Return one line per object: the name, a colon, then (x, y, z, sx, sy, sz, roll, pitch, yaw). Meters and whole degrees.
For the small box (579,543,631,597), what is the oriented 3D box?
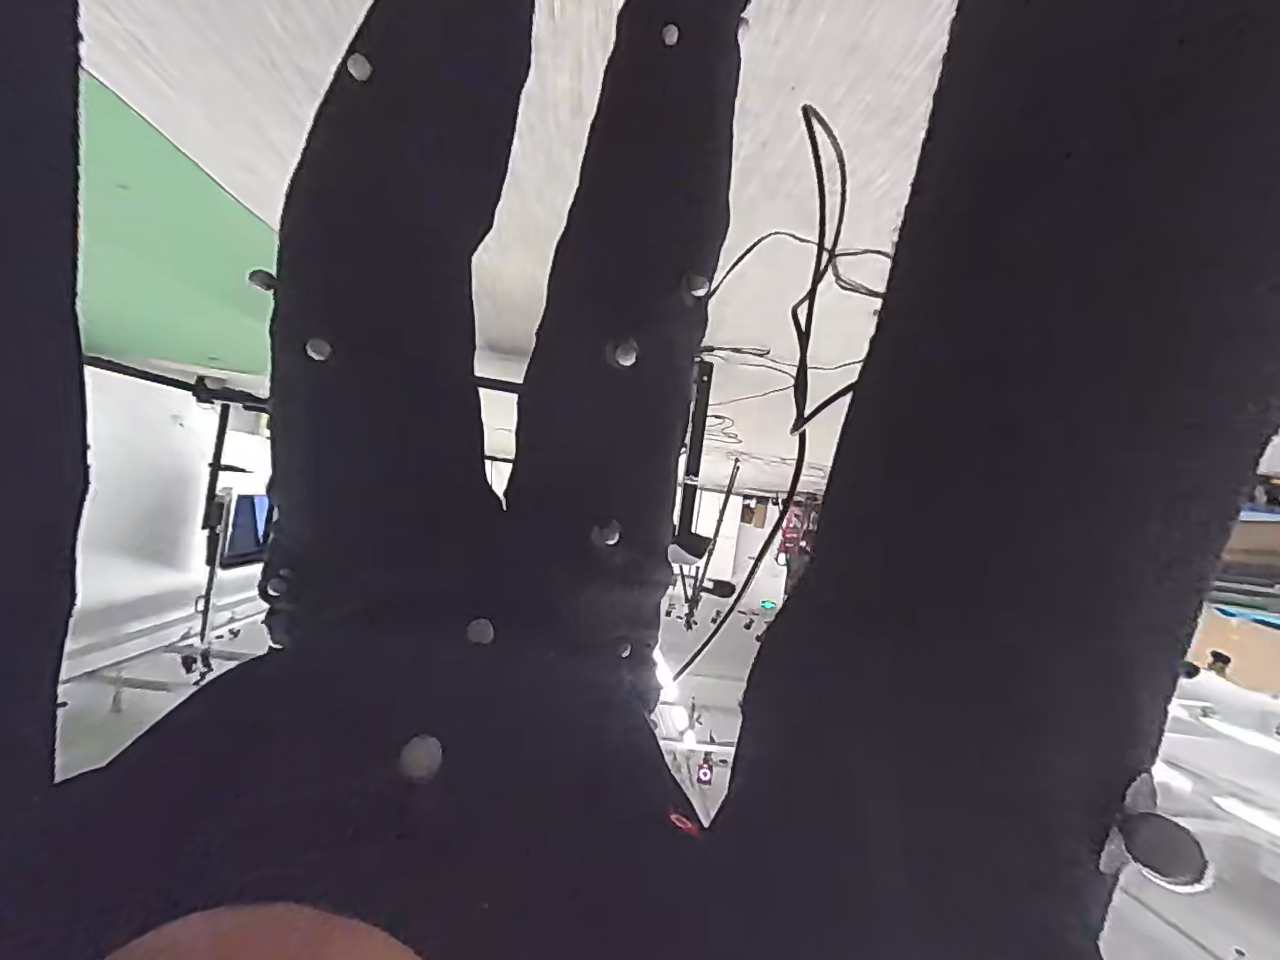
small box: (-0.133, 0.343, 2.078, 0.179, 0.176, 0.168, 10, 176, -4)
